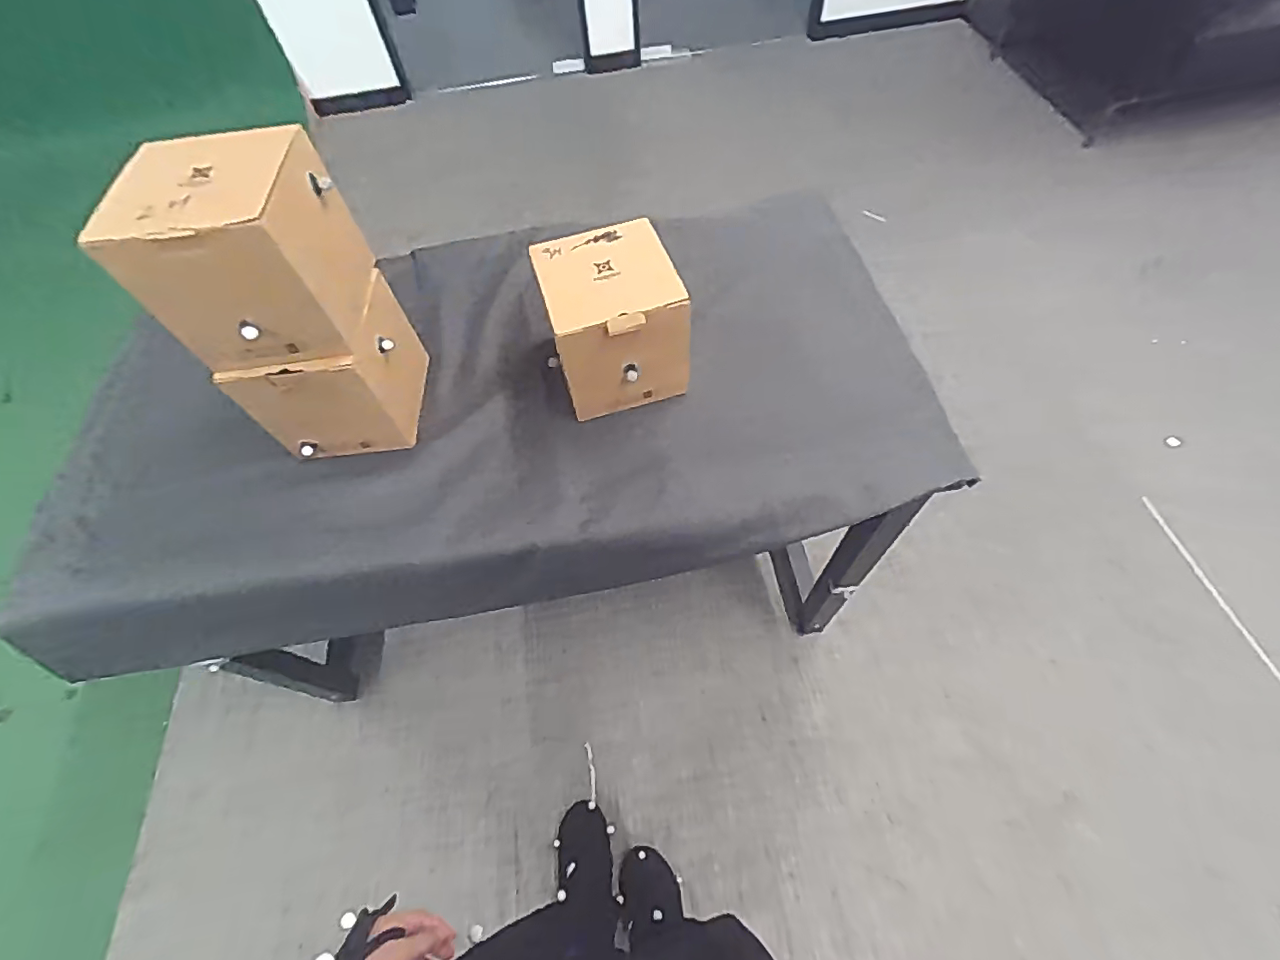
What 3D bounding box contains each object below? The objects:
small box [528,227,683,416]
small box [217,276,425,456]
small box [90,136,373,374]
[{"bbox_3d":[-0.042,-0.208,0.747,0.168,0.176,0.179,-16,59,-6],"label":"small box"},{"bbox_3d":[-0.410,-0.145,0.734,0.168,0.176,0.179,-6,57,0],"label":"small box"},{"bbox_3d":[-0.424,-0.245,0.603,0.168,0.176,0.179,-8,58,0],"label":"small box"}]
